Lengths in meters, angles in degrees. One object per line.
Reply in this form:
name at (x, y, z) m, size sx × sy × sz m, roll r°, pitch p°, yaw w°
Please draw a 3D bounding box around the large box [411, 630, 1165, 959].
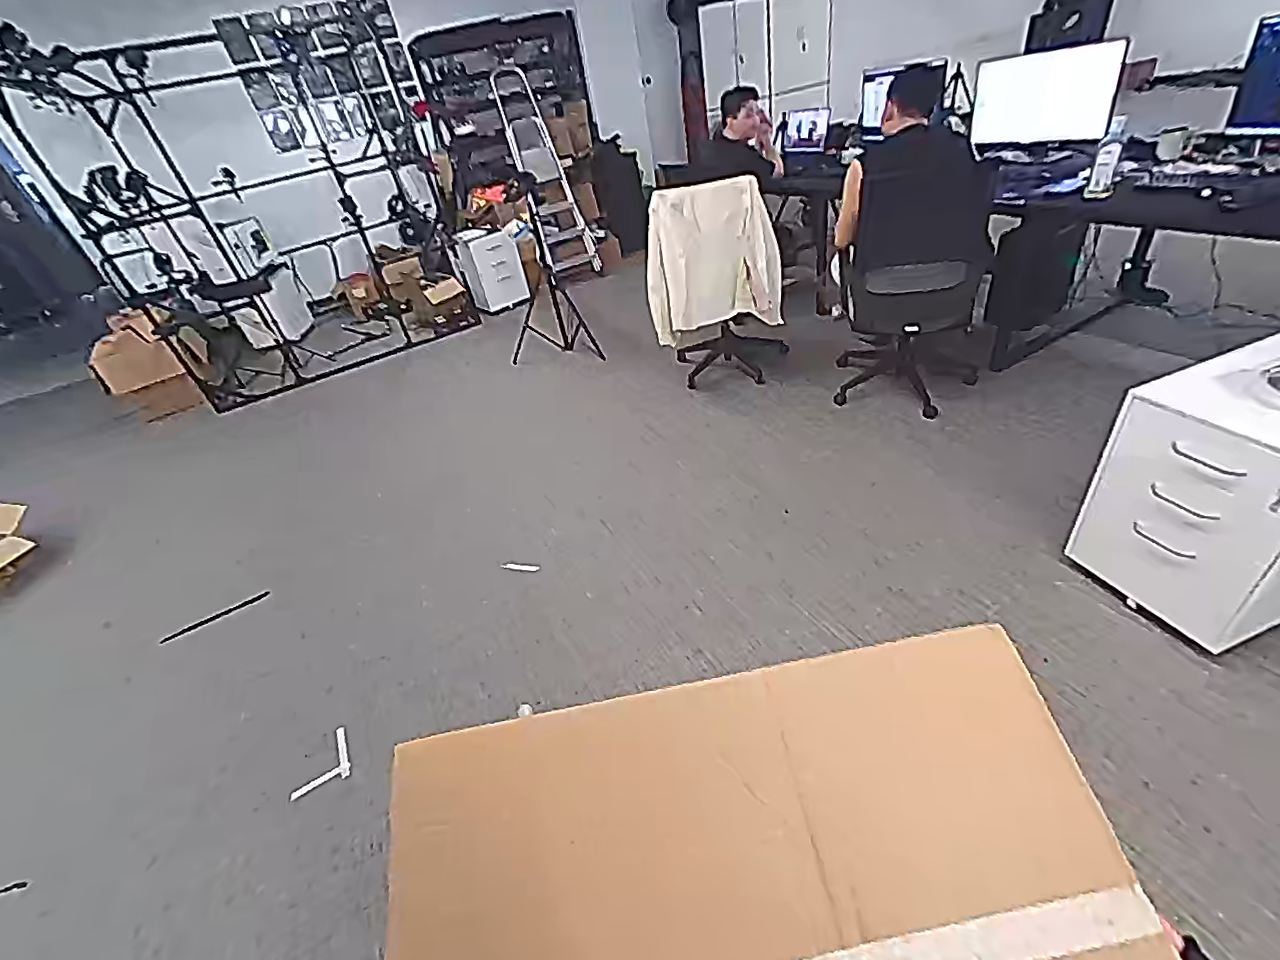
large box at (0.082, 0.344, 0.414) m, size 0.408 × 0.320 × 0.320 m, roll -11°, pitch 61°, yaw -3°
